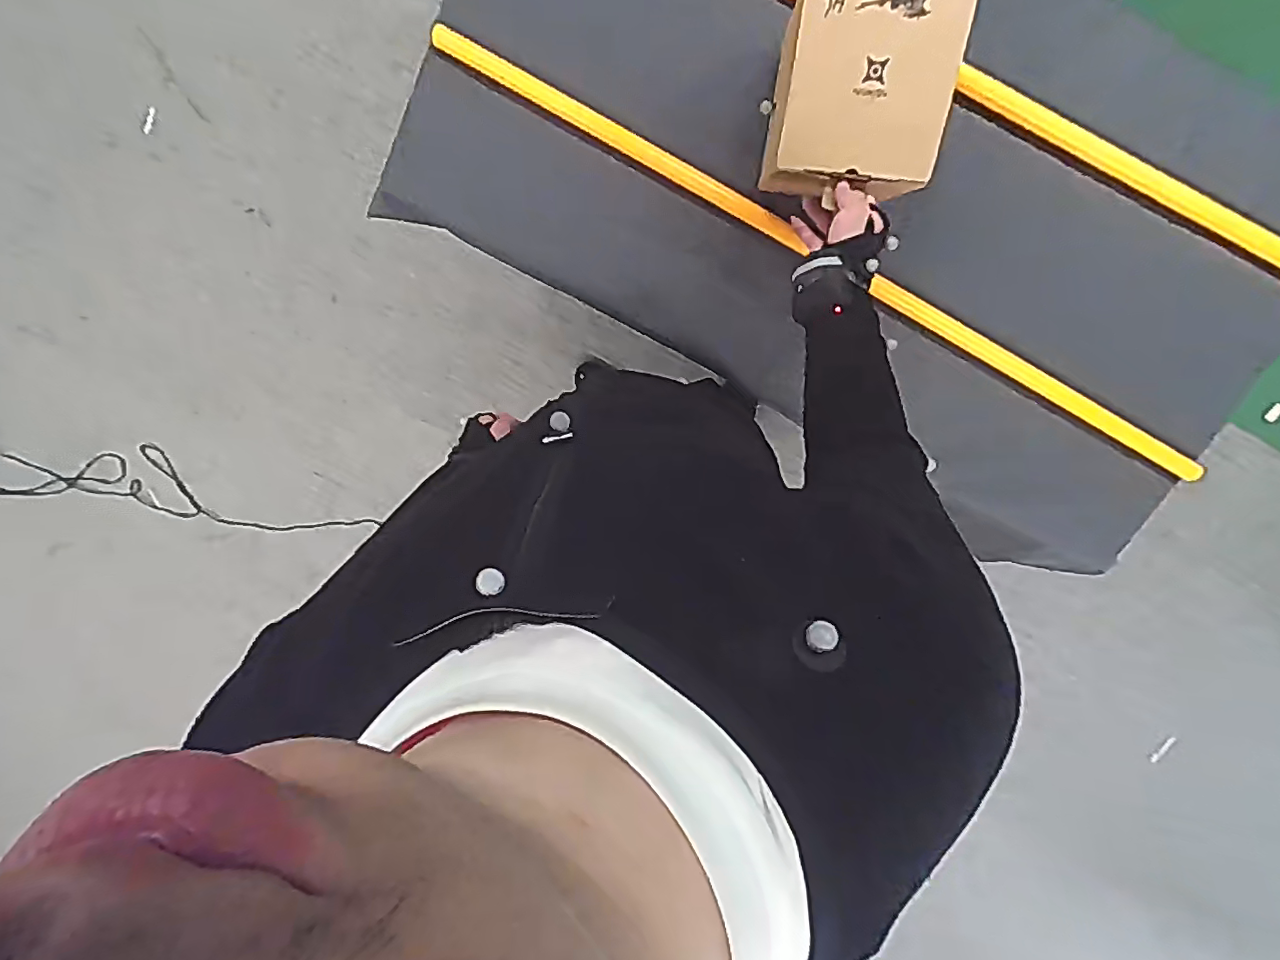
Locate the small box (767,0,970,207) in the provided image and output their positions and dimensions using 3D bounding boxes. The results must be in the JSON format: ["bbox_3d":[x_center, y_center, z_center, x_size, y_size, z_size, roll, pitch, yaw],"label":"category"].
[{"bbox_3d":[0.247,-0.428,0.636,0.168,0.176,0.179,5,110,6],"label":"small box"}]
